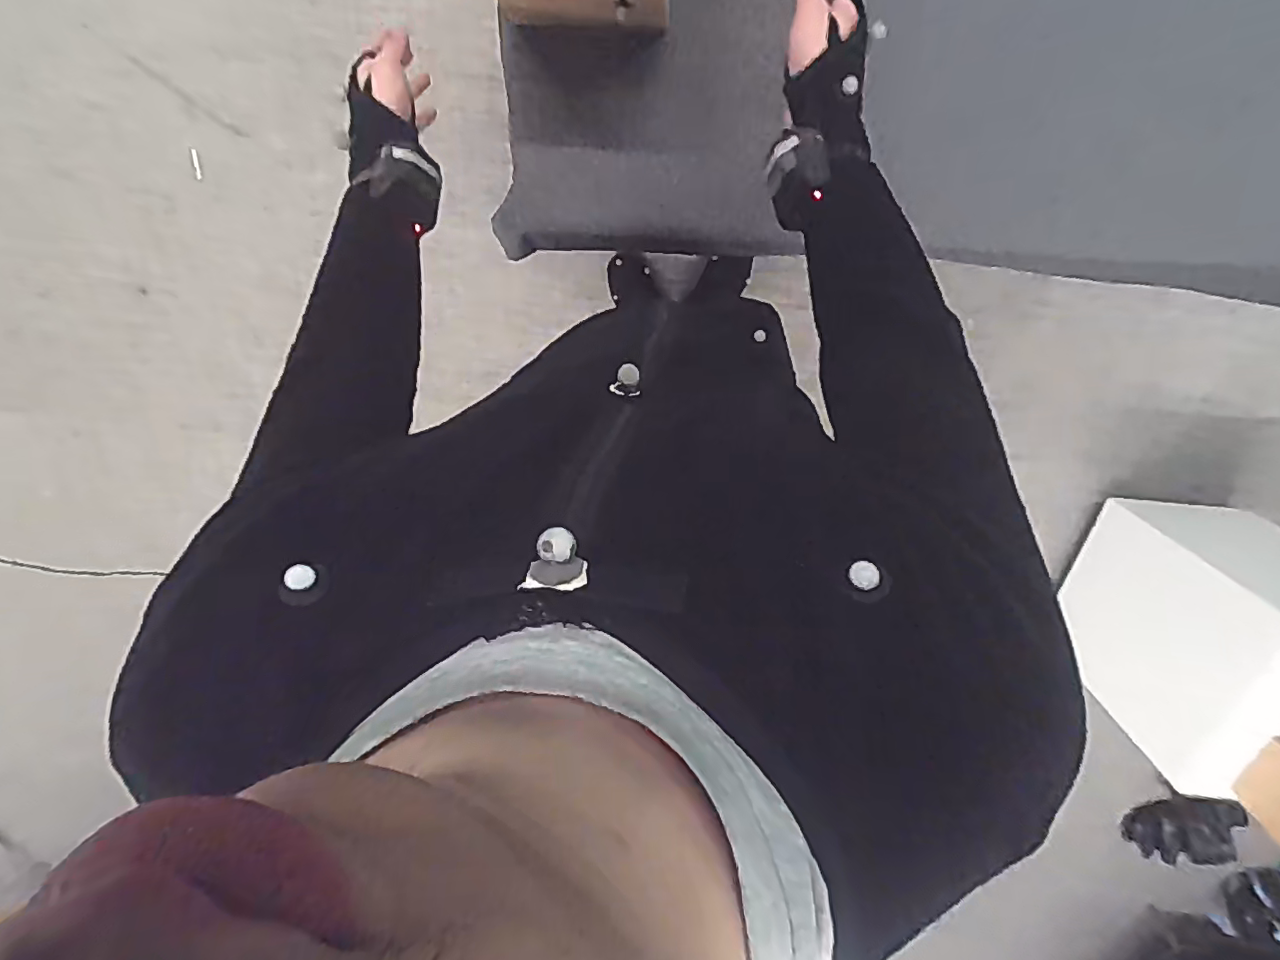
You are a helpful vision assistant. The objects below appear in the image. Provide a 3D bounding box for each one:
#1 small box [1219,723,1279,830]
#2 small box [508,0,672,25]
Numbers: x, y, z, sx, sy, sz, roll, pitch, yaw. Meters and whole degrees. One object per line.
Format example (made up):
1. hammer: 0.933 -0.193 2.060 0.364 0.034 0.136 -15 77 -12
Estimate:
1. small box: 1.461 0.661 1.188 0.168 0.176 0.179 5 116 -1
2. small box: -0.048 -0.541 0.485 0.179 0.176 0.168 2 114 1
